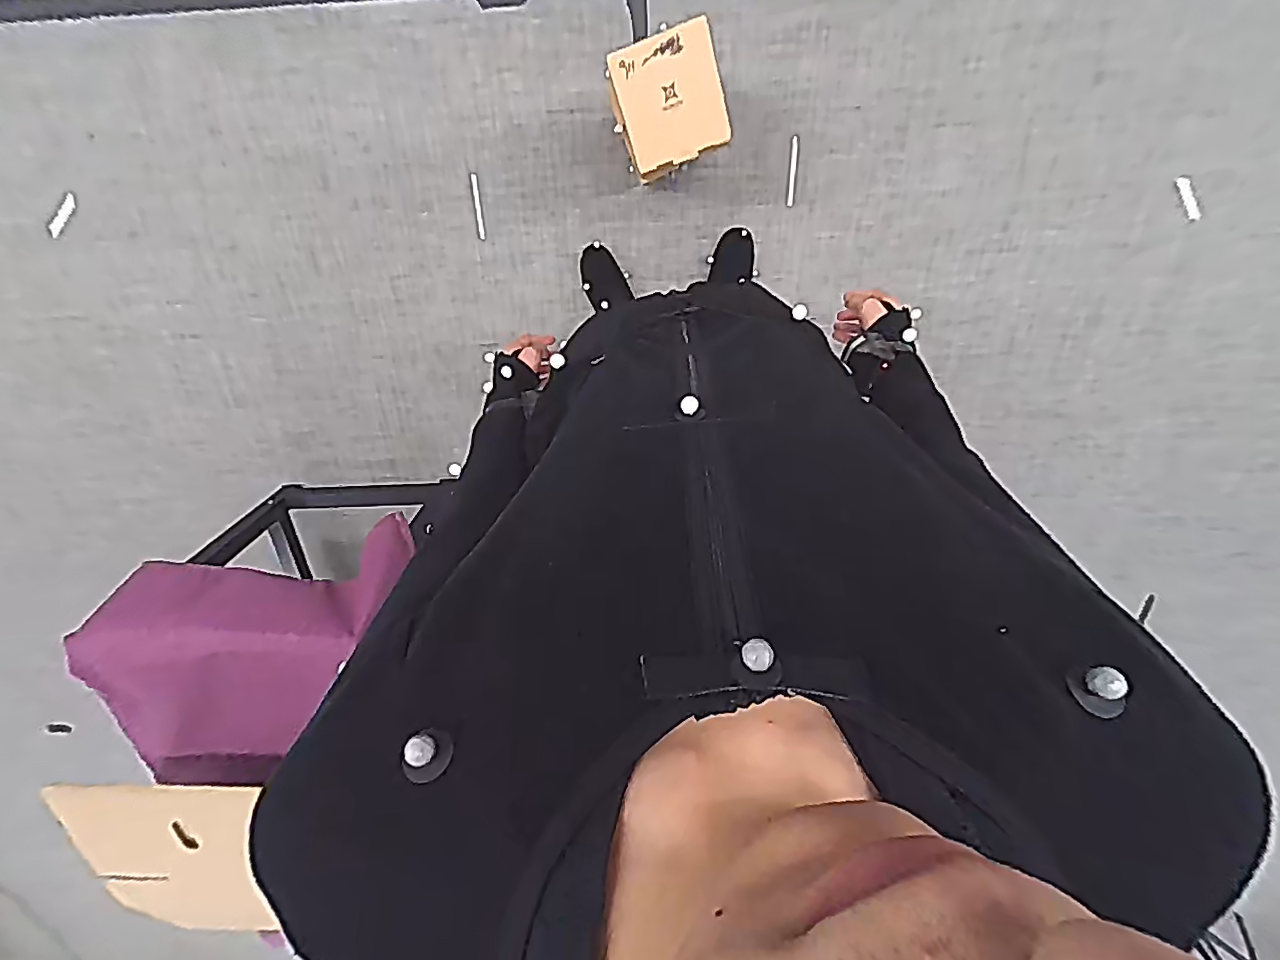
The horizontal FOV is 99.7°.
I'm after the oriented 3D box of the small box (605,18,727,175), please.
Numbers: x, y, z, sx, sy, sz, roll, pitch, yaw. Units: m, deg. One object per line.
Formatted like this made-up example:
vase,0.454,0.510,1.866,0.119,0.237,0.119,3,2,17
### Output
small box,0.047,-0.659,0.952,0.168,0.176,0.179,-16,117,8
